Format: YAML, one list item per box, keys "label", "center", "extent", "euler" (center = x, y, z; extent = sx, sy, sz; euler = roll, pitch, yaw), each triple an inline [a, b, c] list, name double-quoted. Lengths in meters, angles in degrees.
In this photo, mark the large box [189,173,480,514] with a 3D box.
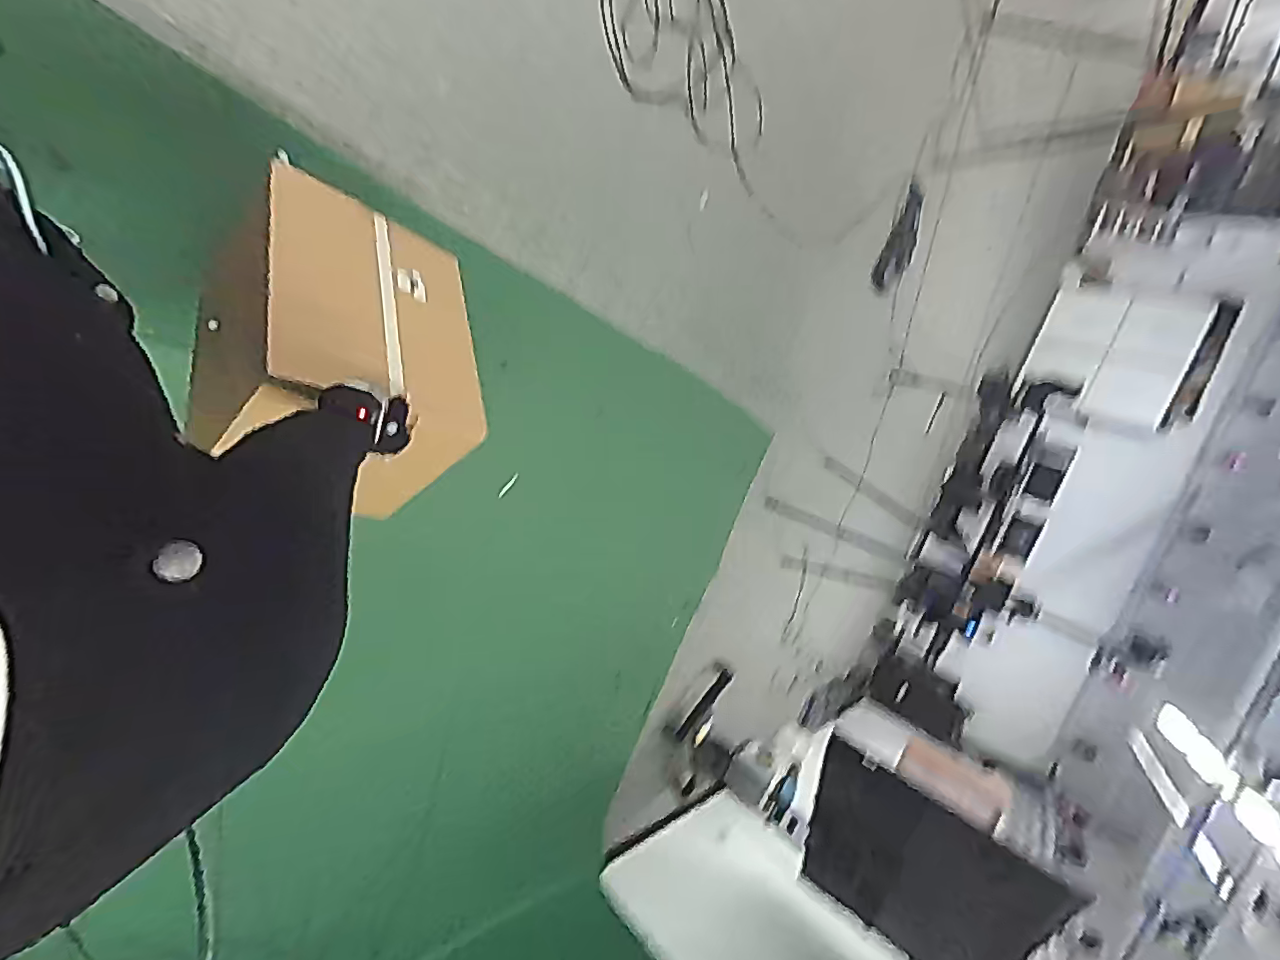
- label: "large box"
  center: [-0.519, -0.195, 0.917]
  extent: [0.320, 0.408, 0.320]
  euler: [-32, 151, 27]
